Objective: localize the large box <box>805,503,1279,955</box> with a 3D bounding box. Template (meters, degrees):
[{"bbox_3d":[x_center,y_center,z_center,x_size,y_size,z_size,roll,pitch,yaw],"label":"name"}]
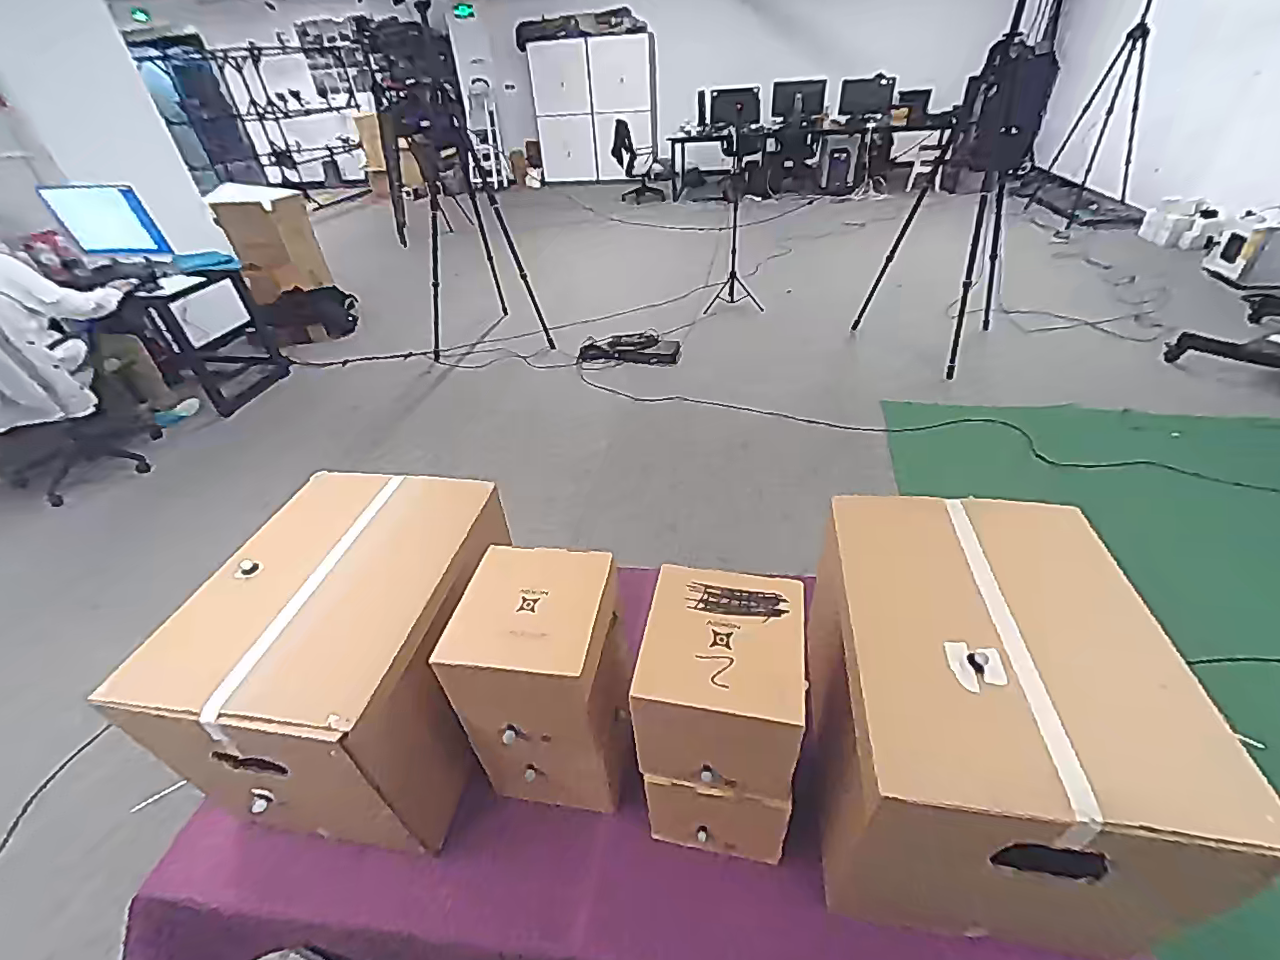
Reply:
[{"bbox_3d":[0.401,0.281,0.684,0.320,0.320,0.408,3,39,10],"label":"large box"}]
